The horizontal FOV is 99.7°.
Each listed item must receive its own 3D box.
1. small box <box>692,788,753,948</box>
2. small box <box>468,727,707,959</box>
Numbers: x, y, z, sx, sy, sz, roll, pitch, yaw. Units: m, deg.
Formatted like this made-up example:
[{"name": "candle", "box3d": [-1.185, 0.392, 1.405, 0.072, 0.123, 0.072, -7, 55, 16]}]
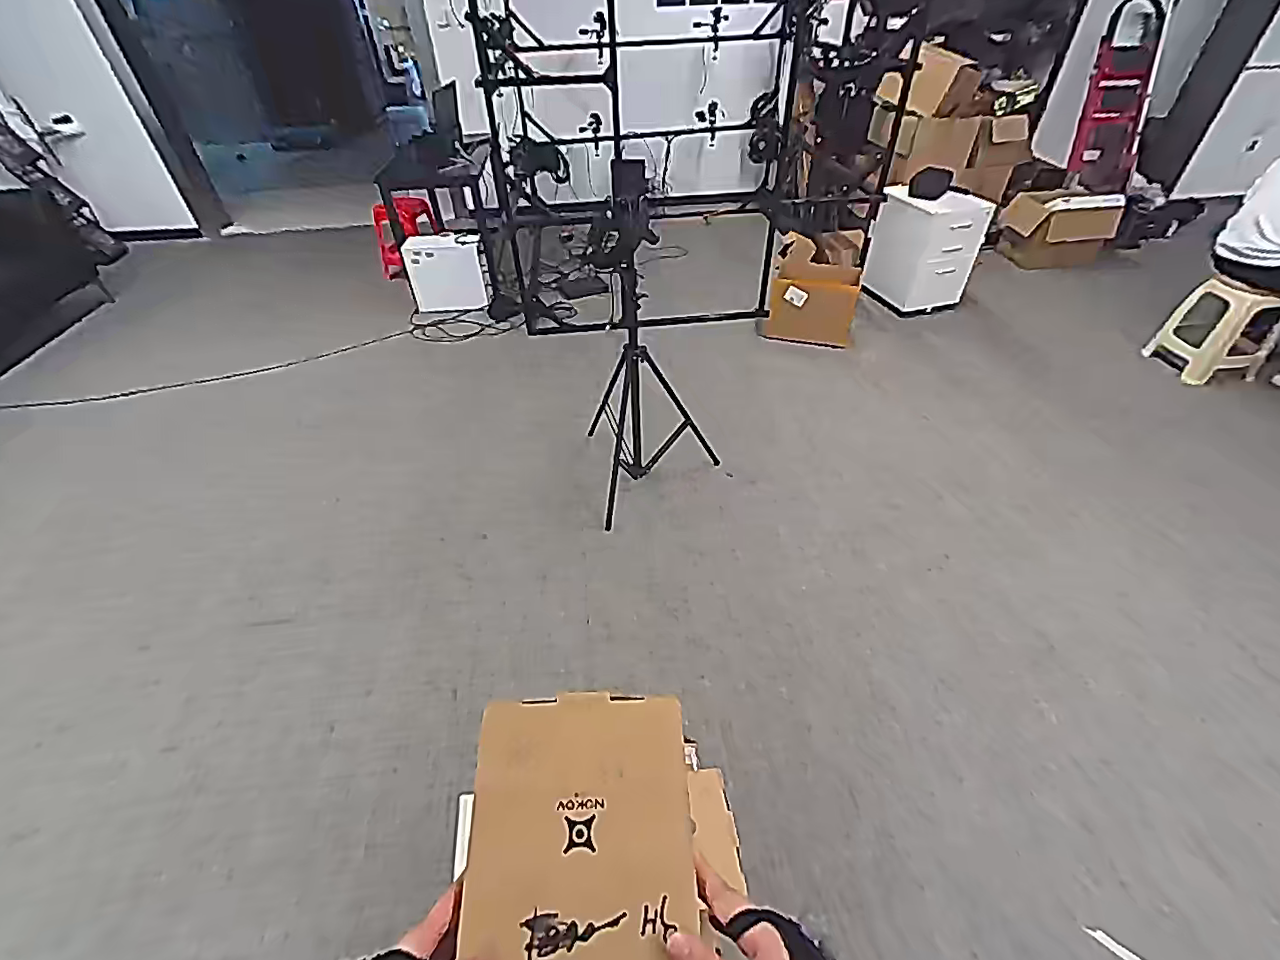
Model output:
[{"name": "small box", "box3d": [0.050, 0.581, 0.798, 0.179, 0.176, 0.168, -6, 43, -6]}, {"name": "small box", "box3d": [-0.041, 0.329, 0.467, 0.168, 0.176, 0.179, -1, 53, -3]}]
